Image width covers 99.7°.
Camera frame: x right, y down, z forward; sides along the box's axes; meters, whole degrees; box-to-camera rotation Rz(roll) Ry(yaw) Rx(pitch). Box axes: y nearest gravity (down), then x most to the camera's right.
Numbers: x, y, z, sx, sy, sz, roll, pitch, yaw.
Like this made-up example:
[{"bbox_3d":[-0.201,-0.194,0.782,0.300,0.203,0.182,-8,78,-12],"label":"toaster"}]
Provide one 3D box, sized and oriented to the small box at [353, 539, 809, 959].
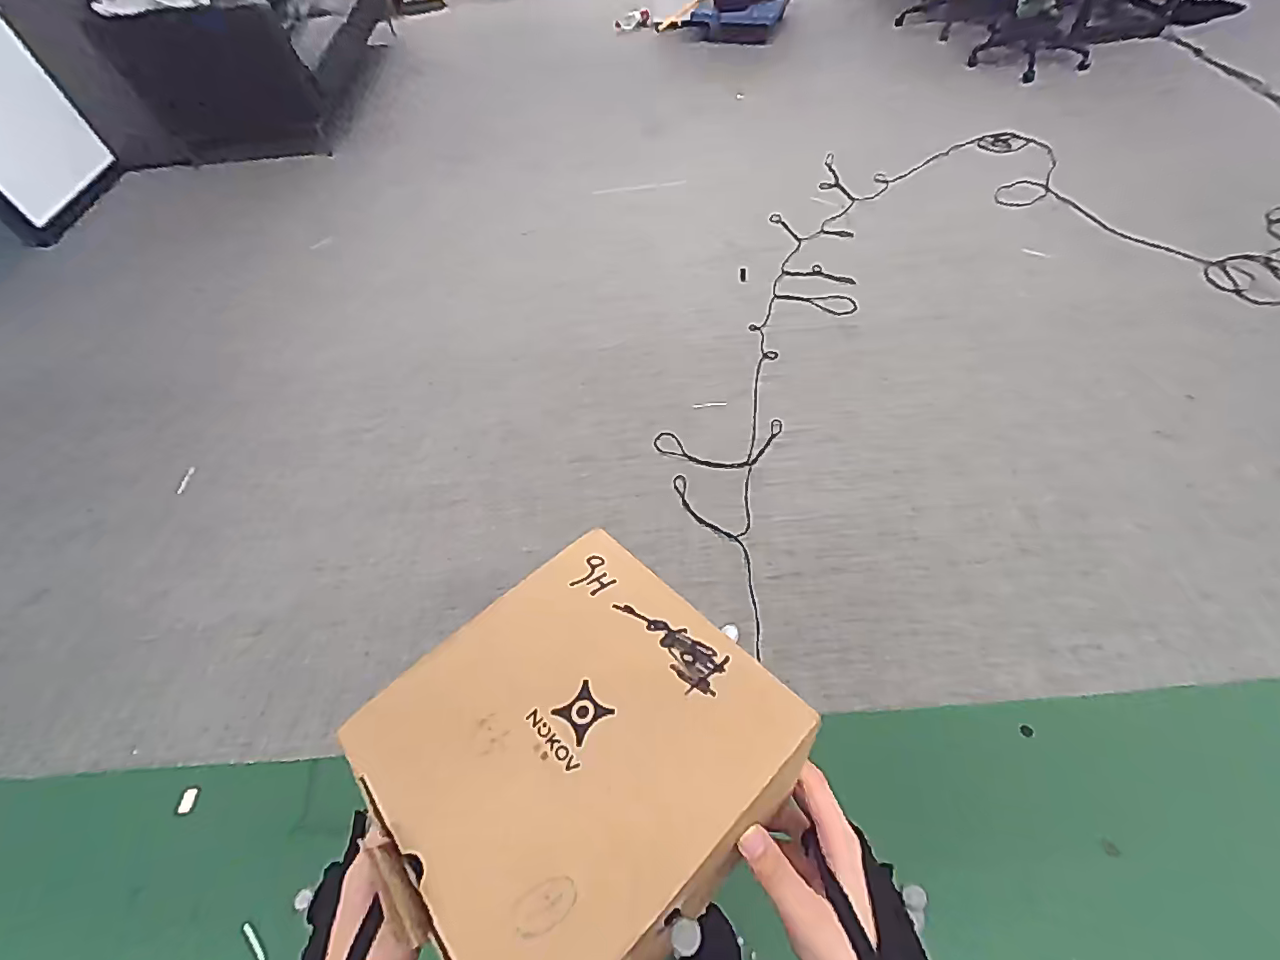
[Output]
[{"bbox_3d":[-0.022,0.177,0.325,0.179,0.176,0.168,-38,53,-23],"label":"small box"}]
